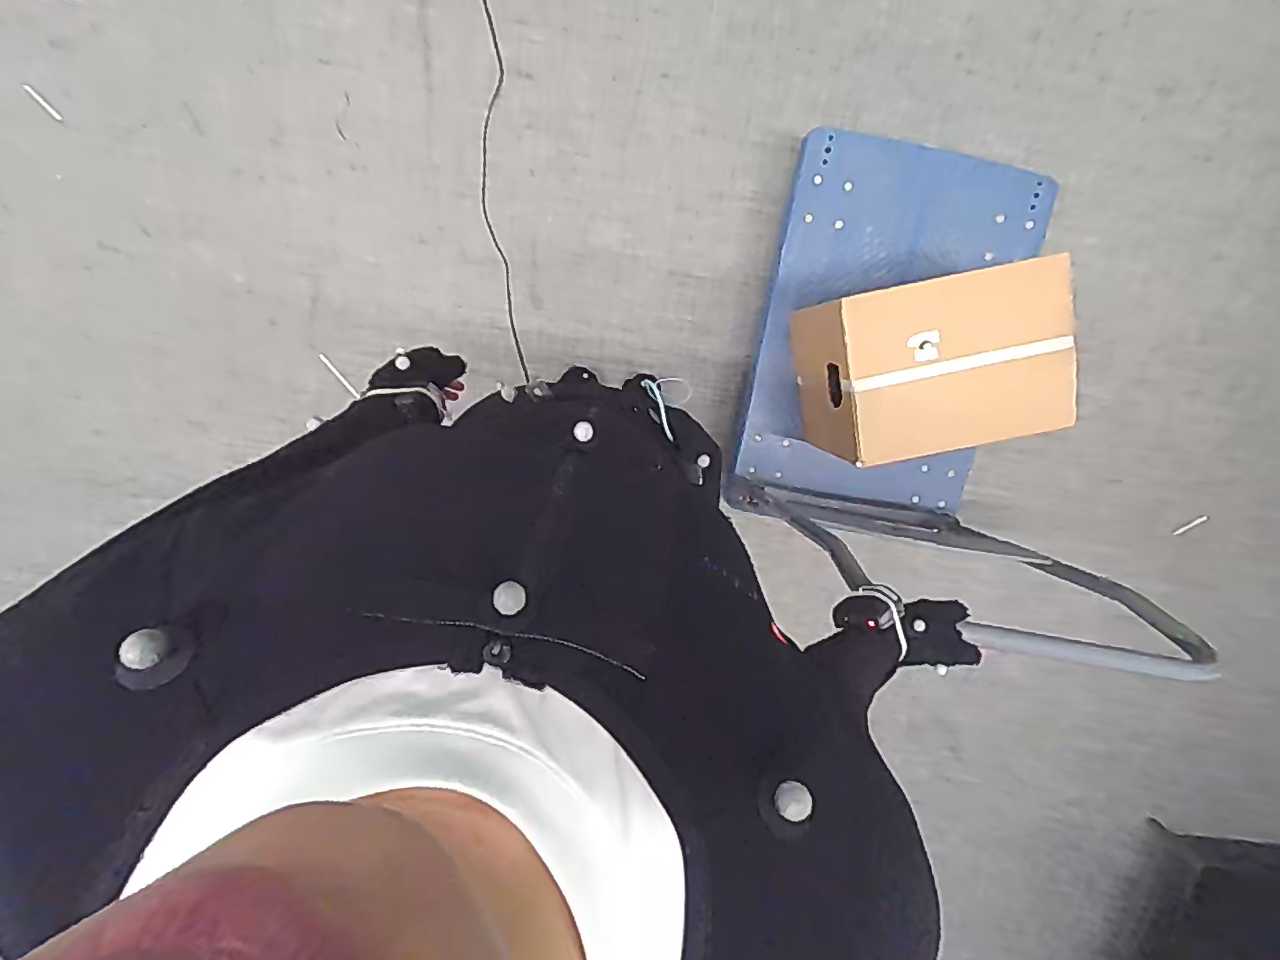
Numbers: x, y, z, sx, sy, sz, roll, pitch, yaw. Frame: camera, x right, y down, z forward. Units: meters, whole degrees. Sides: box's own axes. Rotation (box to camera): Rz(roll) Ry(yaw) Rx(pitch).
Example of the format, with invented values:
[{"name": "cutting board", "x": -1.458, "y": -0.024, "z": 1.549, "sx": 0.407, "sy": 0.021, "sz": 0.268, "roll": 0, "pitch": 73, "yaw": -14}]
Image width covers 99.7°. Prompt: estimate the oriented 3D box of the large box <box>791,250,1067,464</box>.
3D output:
[{"name": "large box", "x": 0.569, "y": -0.249, "z": 1.122, "sx": 0.408, "sy": 0.320, "sz": 0.320, "roll": -11, "pitch": 102, "yaw": 2}]
